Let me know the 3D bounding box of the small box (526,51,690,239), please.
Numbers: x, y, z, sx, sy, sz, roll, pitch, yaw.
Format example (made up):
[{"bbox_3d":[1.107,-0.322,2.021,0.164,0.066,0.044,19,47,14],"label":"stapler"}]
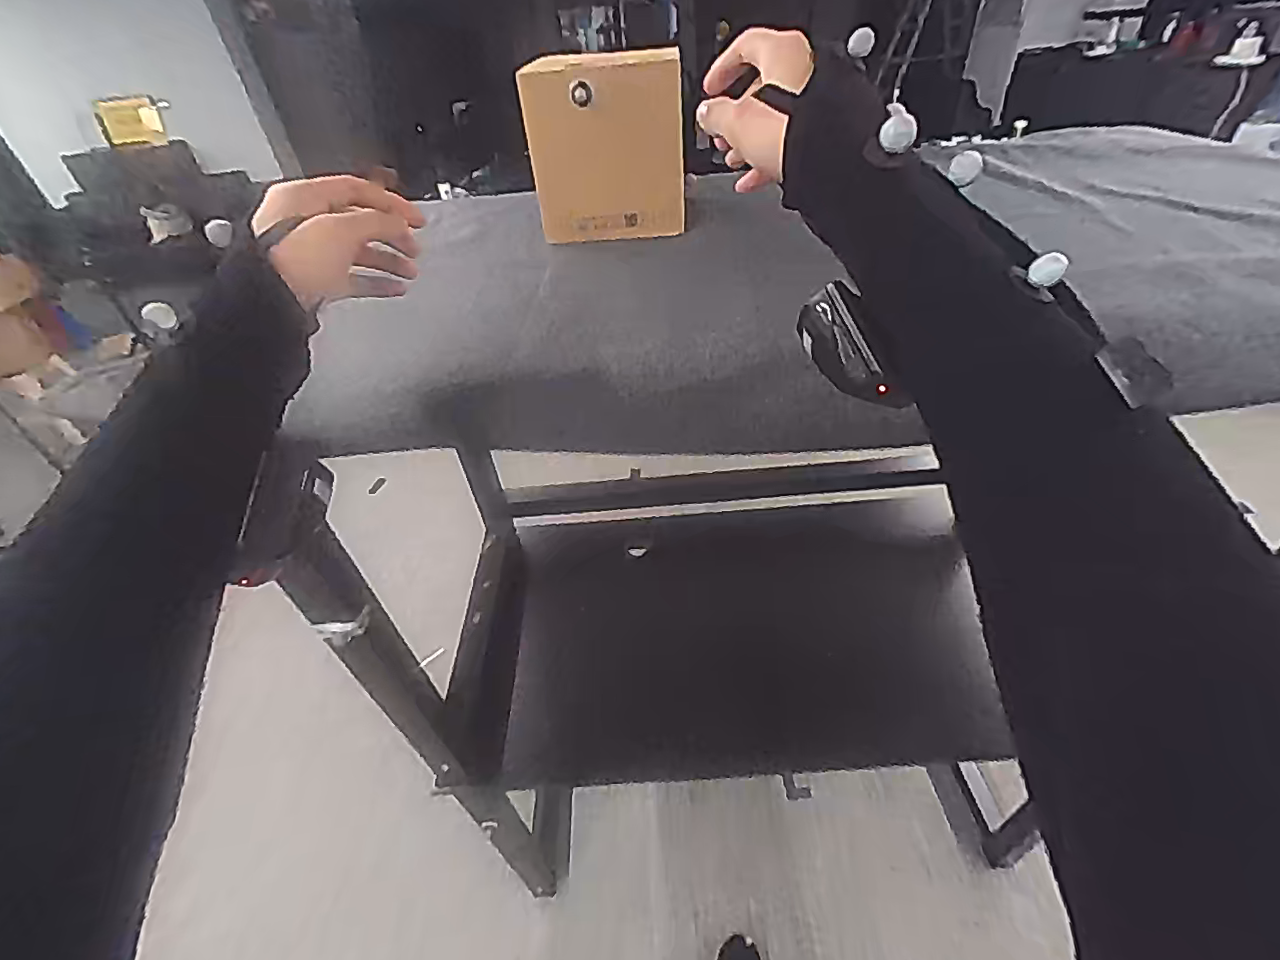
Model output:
[{"bbox_3d":[-0.025,-0.402,0.652,0.168,0.176,0.179,-1,40,5],"label":"small box"}]
